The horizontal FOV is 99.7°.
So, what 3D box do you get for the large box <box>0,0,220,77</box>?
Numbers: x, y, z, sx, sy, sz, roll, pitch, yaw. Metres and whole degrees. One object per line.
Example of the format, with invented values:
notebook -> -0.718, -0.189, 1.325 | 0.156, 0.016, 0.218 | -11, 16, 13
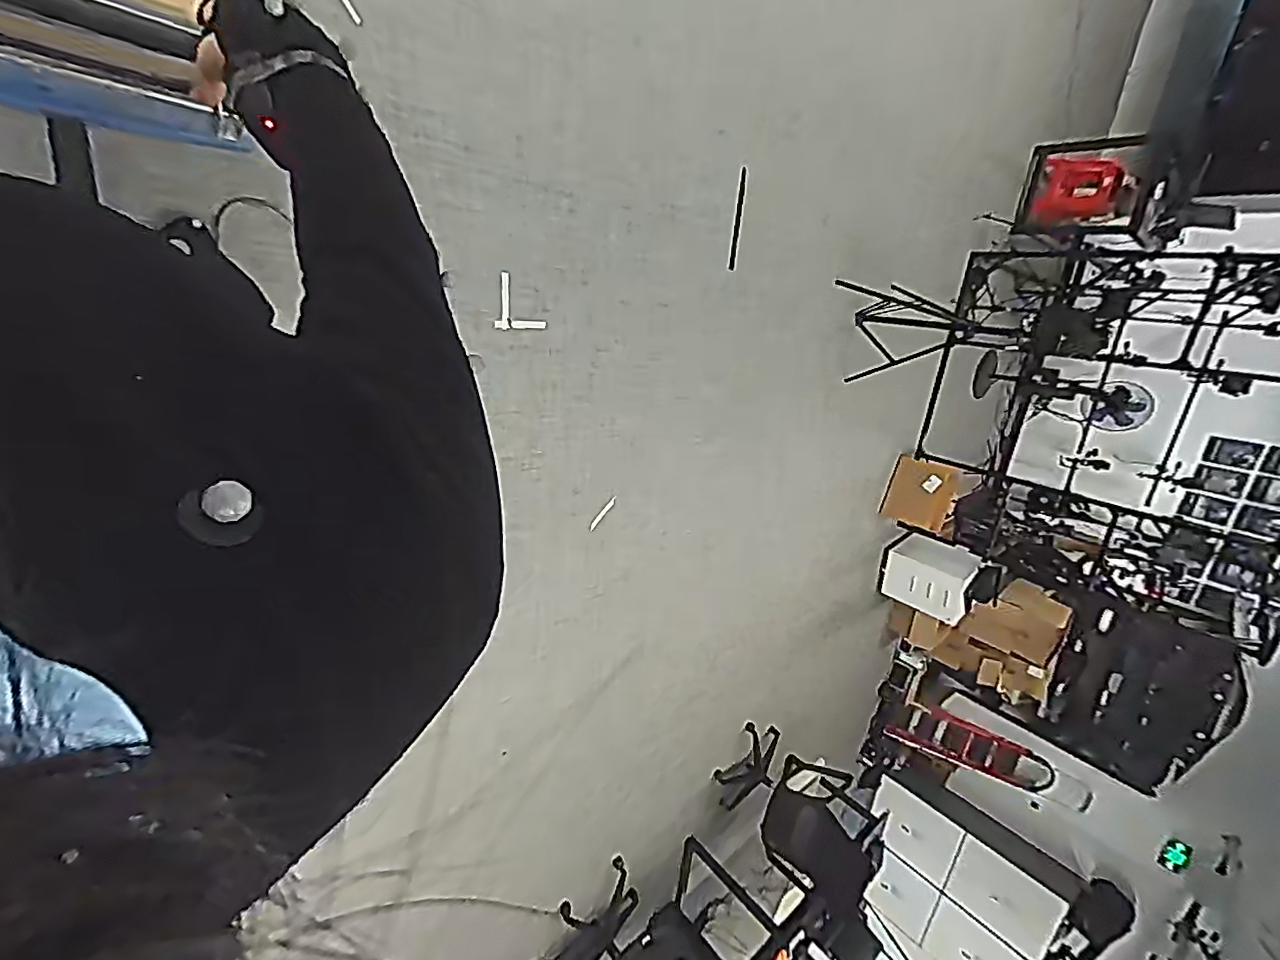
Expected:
large box -> -0.794, -0.754, 0.644 | 0.408, 0.320, 0.320 | -11, 116, -43
